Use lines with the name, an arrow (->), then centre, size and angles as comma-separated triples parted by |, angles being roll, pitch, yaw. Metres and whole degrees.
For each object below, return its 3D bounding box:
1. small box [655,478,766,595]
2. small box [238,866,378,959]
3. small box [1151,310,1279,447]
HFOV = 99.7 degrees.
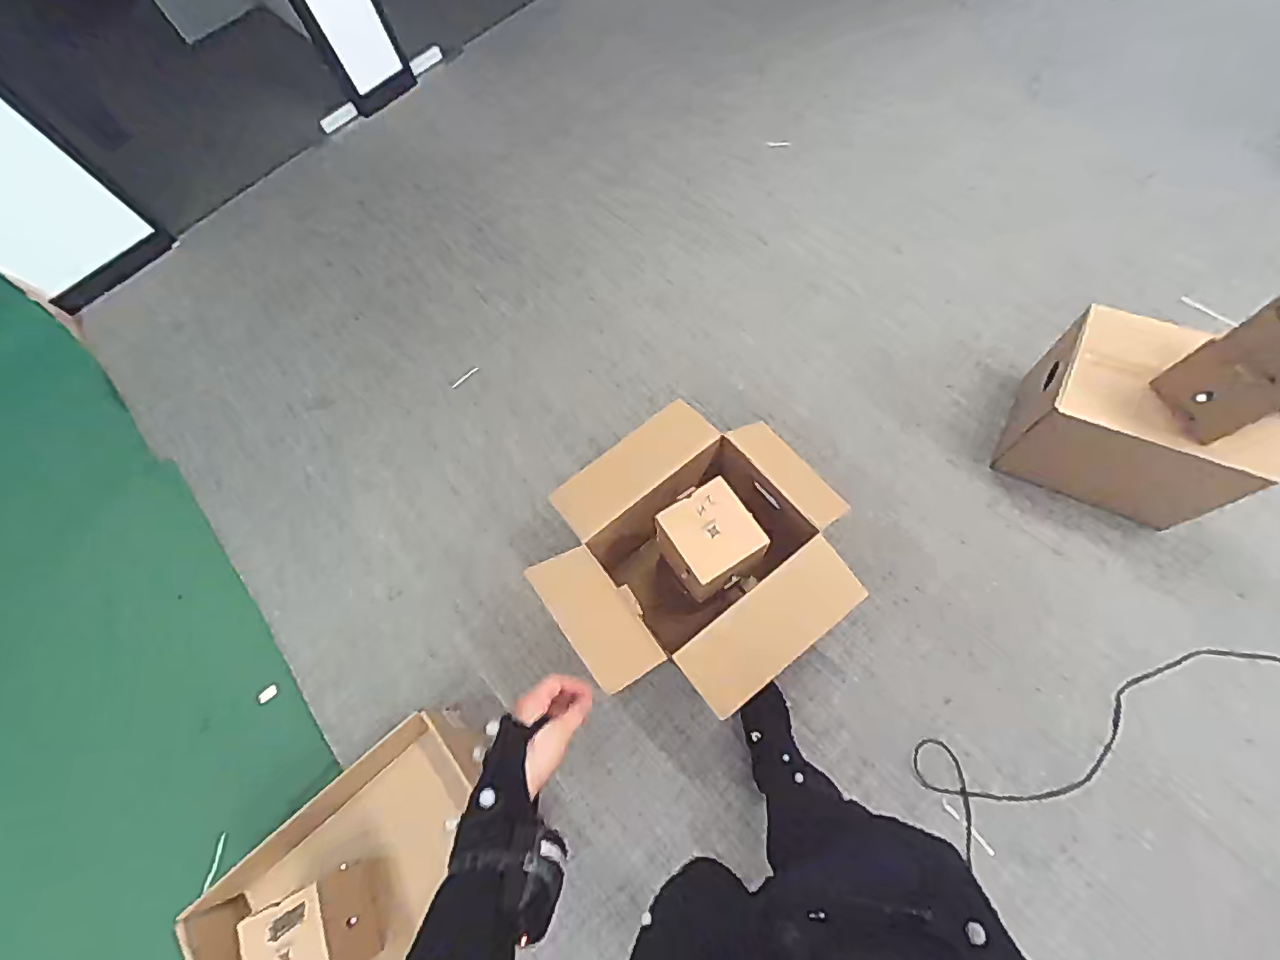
small box -> 0.148, 0.132, 1.172 | 0.168, 0.176, 0.179 | -31, 67, -10
small box -> -0.663, 0.917, 1.092 | 0.168, 0.176, 0.179 | -26, 66, -5
small box -> 1.157, -0.189, 1.044 | 0.179, 0.176, 0.168 | -22, 67, 0
